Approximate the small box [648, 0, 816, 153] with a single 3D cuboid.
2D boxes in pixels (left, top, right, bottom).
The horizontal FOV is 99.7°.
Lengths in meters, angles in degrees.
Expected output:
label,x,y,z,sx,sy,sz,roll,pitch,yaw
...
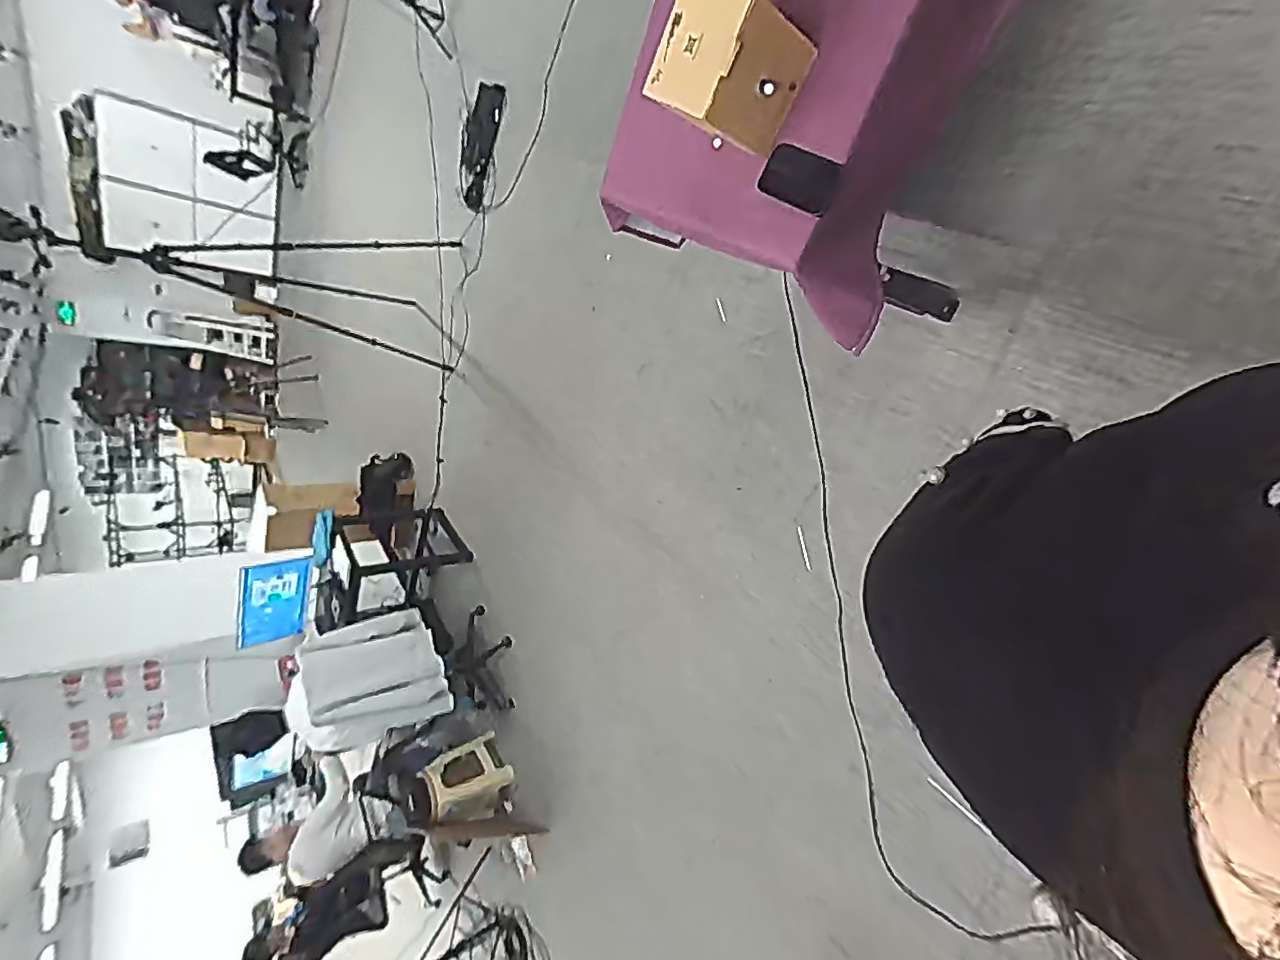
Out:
label,x,y,z,sx,sy,sz,roll,pitch,yaw
small box,0.152,-0.669,0.888,0.179,0.176,0.168,51,127,33
